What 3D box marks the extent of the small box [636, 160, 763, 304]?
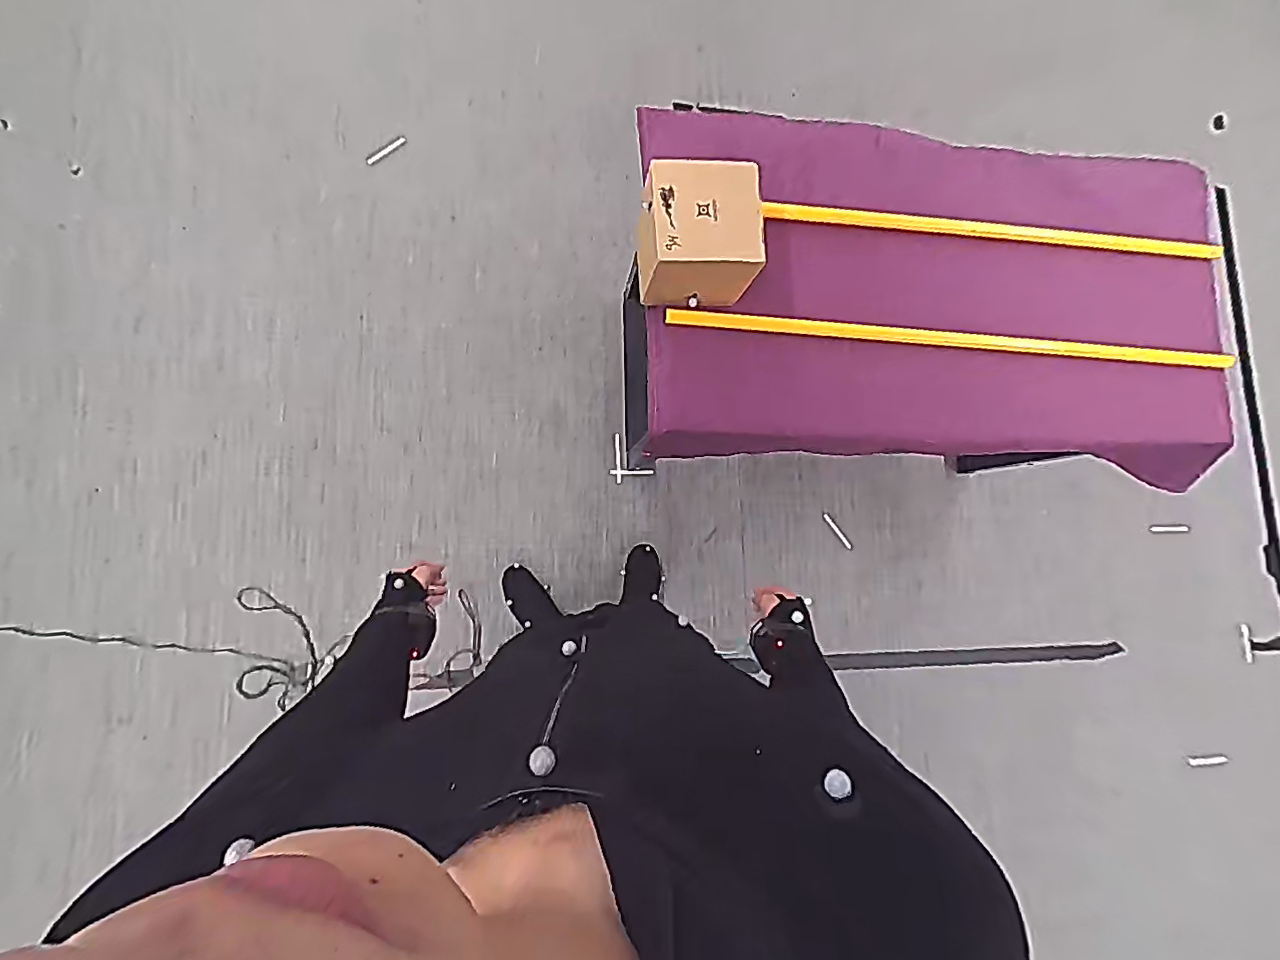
[{"bbox_3d":[0.095,-0.414,0.930,0.179,0.176,0.168,-2,85,-9],"label":"small box"}]
